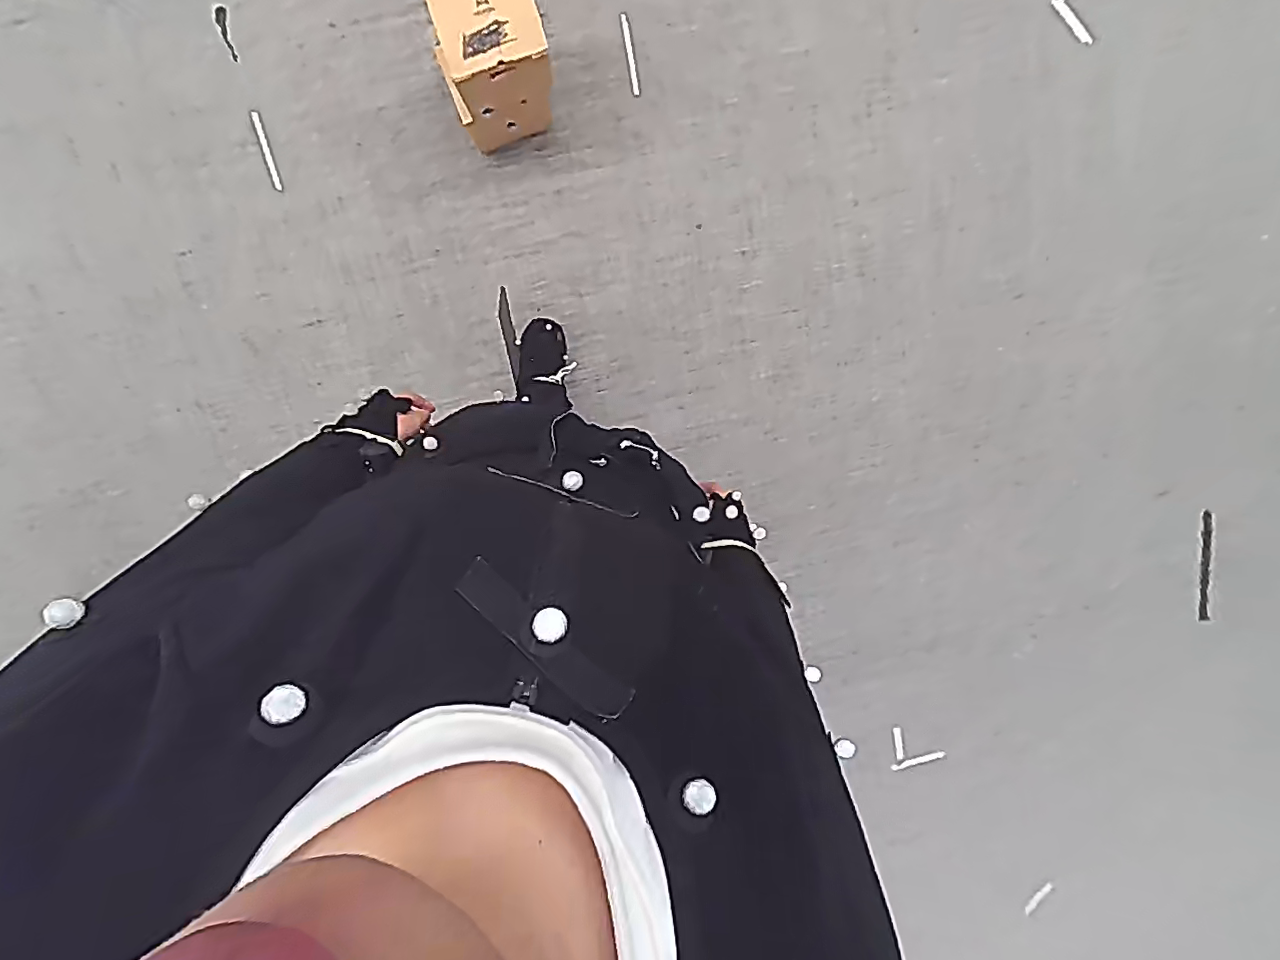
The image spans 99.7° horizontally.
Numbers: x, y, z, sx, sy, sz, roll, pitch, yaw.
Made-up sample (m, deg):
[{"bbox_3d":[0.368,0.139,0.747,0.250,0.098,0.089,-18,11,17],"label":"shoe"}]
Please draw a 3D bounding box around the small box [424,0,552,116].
[{"bbox_3d":[-0.257,-0.761,0.927,0.168,0.176,0.179,-18,104,-1],"label":"small box"}]
